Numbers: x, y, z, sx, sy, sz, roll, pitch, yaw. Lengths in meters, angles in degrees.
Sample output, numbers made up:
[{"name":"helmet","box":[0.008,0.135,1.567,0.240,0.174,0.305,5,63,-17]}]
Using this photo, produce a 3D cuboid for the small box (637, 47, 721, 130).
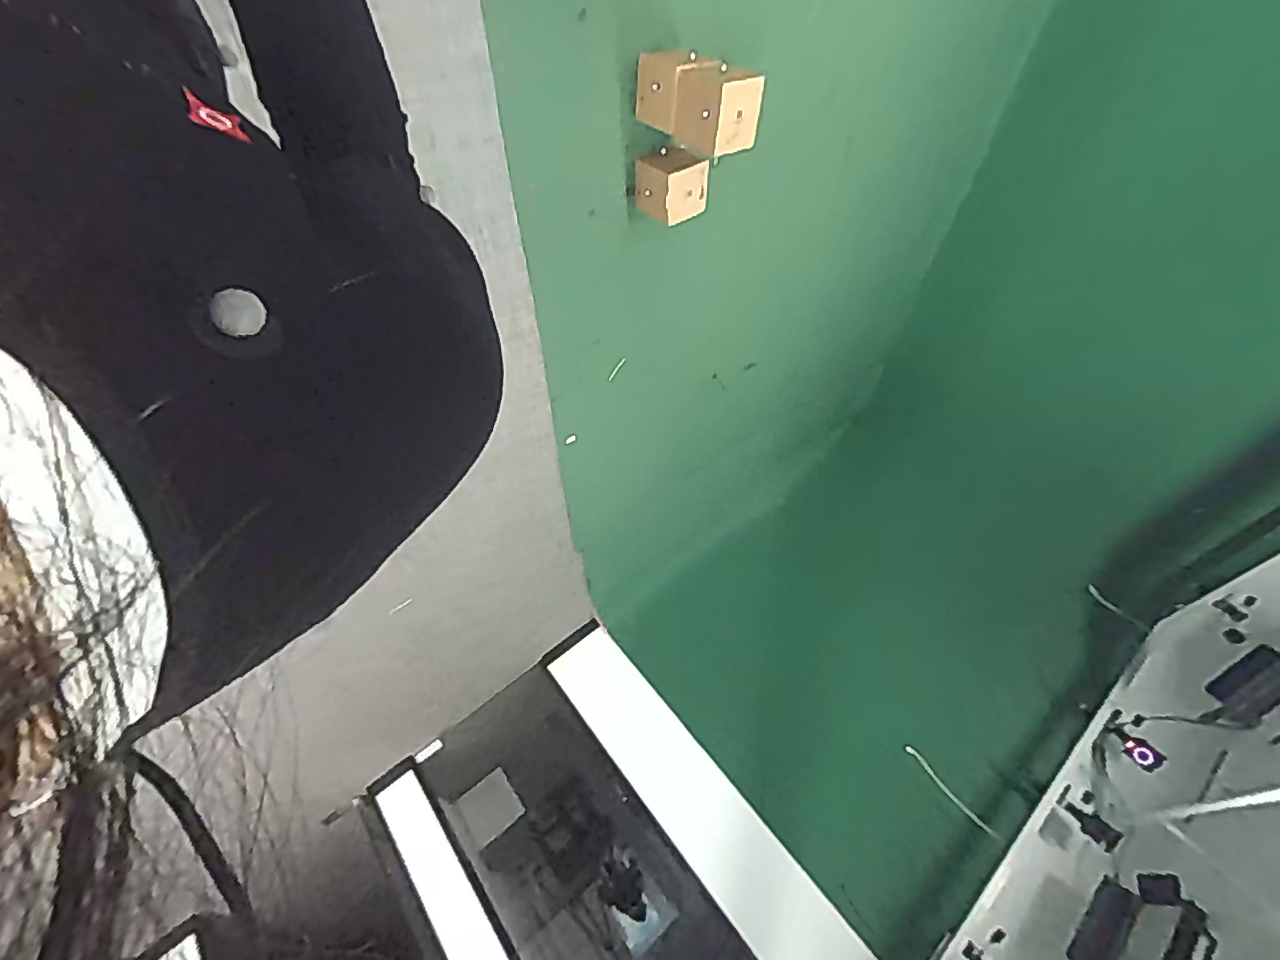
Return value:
[{"name":"small box","box":[0.108,-1.155,1.591,0.179,0.176,0.168,-30,147,-28]}]

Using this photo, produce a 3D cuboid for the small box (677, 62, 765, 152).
[{"name":"small box","box":[0.221,-1.056,1.522,0.168,0.176,0.179,-30,147,-27]}]
